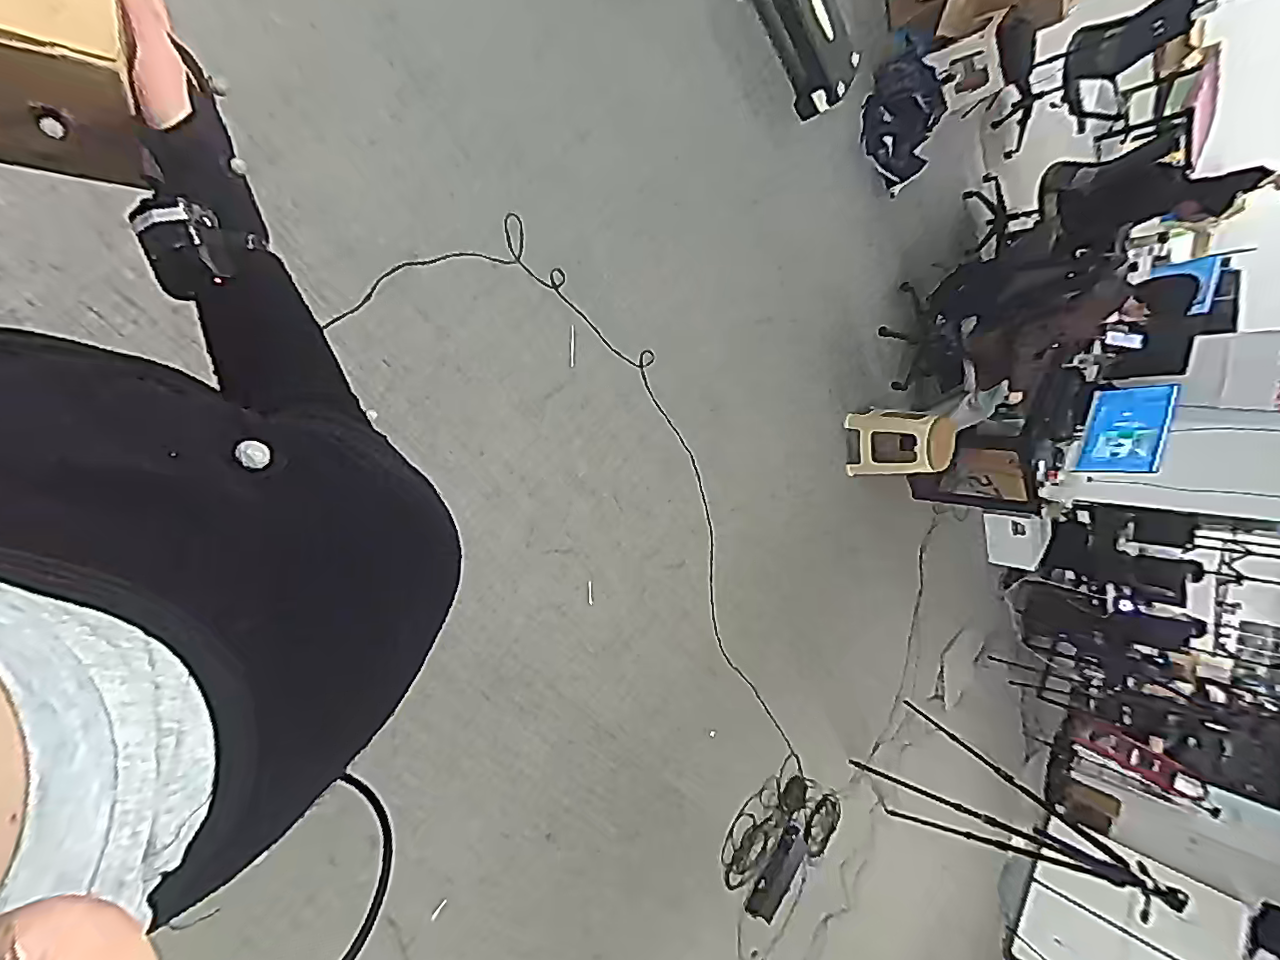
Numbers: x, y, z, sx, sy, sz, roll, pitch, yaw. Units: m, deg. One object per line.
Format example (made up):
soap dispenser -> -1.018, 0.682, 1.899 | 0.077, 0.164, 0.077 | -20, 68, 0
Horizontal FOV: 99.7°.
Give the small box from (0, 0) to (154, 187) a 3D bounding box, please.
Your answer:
small box -> -0.447, -0.333, 0.360 | 0.168, 0.176, 0.179 | -5, 88, -38
